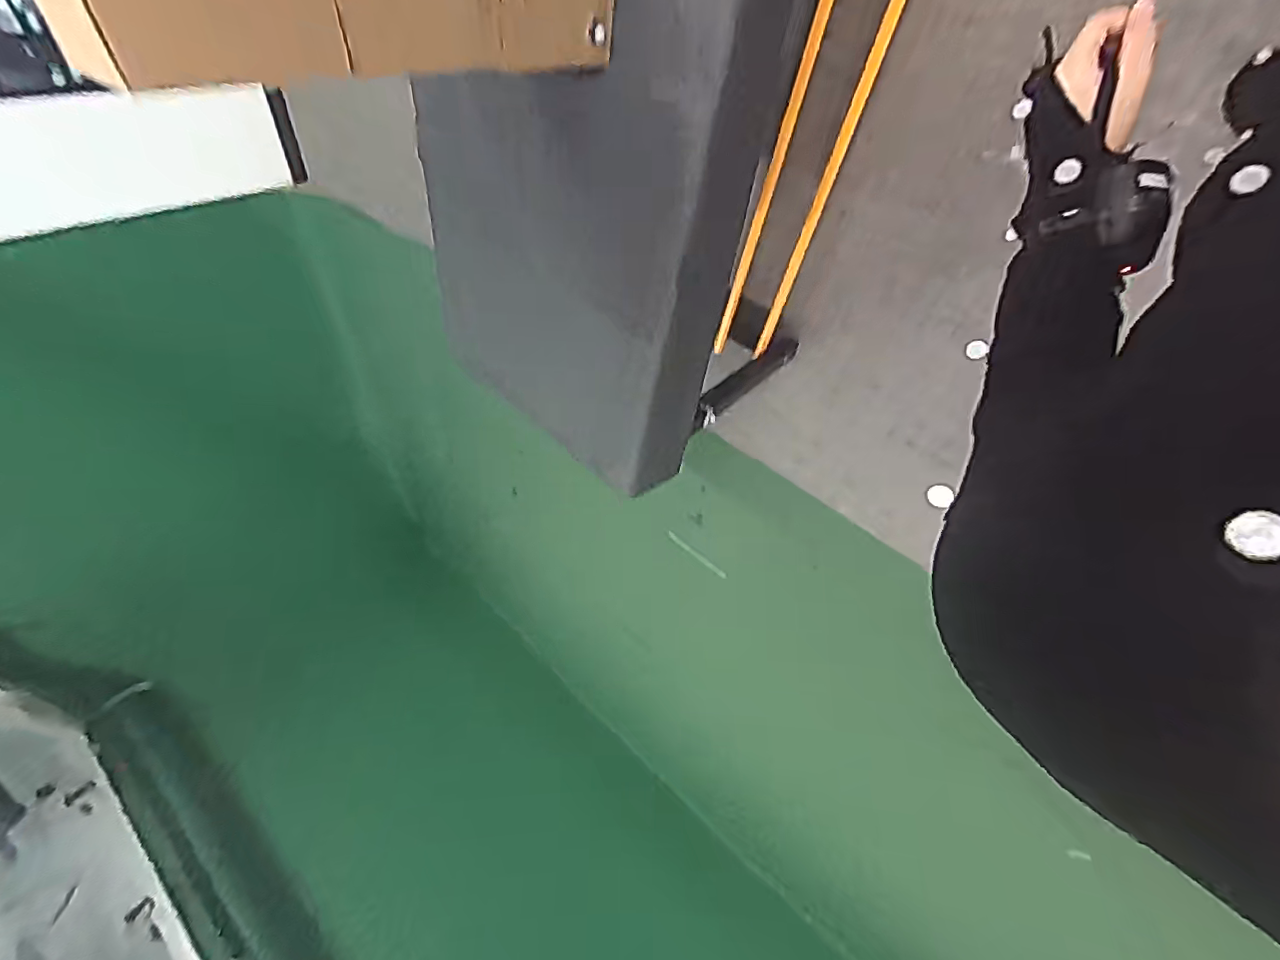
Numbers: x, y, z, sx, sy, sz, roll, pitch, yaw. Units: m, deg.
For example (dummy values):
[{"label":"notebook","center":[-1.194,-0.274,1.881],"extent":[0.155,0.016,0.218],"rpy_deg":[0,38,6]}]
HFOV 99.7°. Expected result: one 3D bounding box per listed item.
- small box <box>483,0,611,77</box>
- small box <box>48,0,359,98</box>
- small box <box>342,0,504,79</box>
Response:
[{"label":"small box","center":[-0.139,-0.577,0.599],"extent":[0.179,0.176,0.168],"rpy_deg":[38,142,21]},{"label":"small box","center":[-0.352,-0.415,0.411],"extent":[0.168,0.176,0.179],"rpy_deg":[34,141,28]},{"label":"small box","center":[-0.249,-0.498,0.504],"extent":[0.179,0.176,0.168],"rpy_deg":[36,142,22]}]
